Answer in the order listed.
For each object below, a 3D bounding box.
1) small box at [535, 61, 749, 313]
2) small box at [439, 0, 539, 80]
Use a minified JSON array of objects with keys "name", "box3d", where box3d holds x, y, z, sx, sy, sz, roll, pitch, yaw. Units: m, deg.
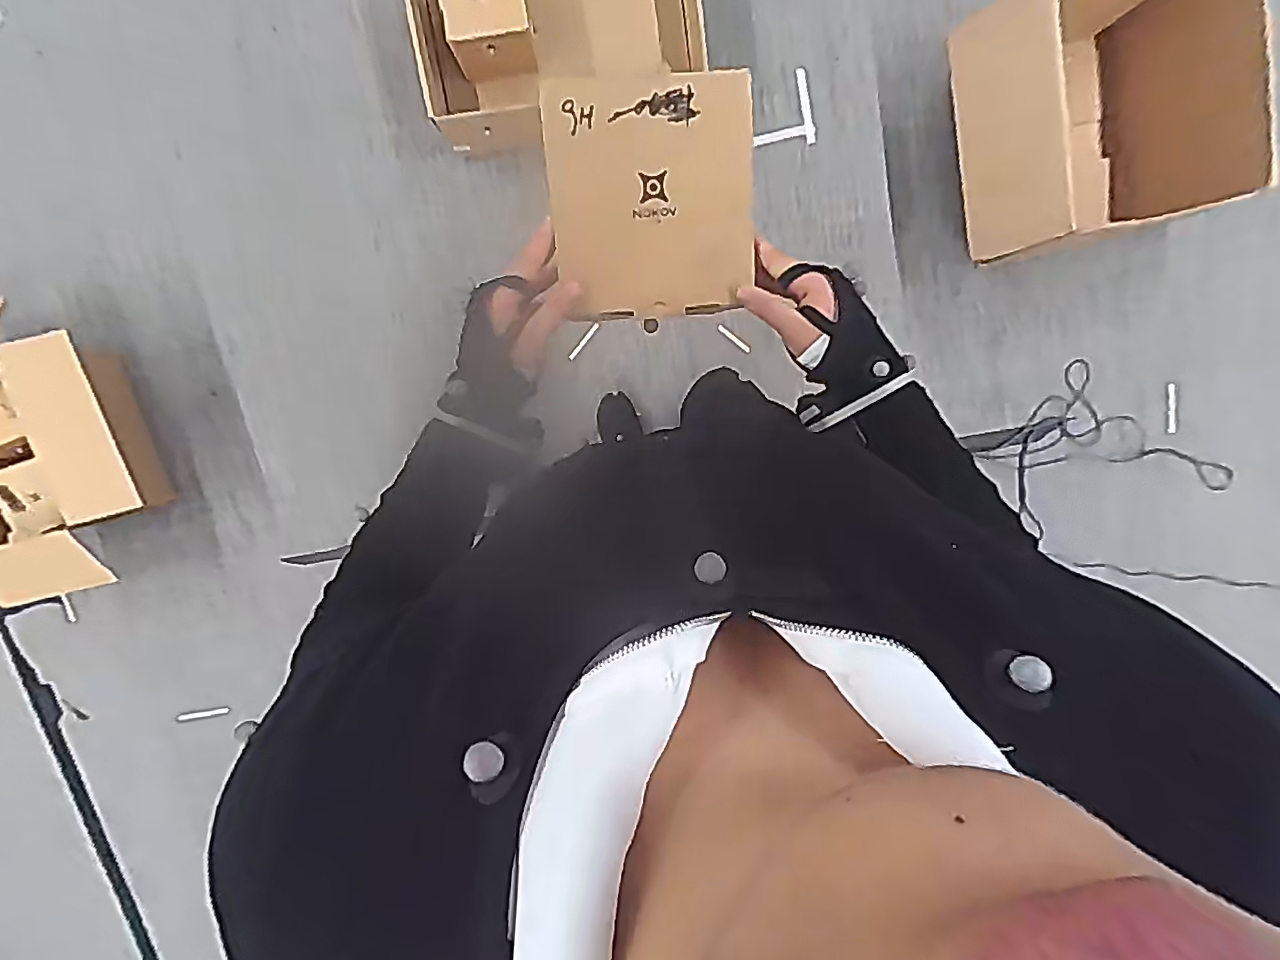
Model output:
[{"name":"small box","box3d":[0.002,-0.254,0.510,0.168,0.176,0.179,-5,106,-3]},{"name":"small box","box3d":[-0.332,-1.018,1.189,0.179,0.176,0.168,-10,102,-1]}]
